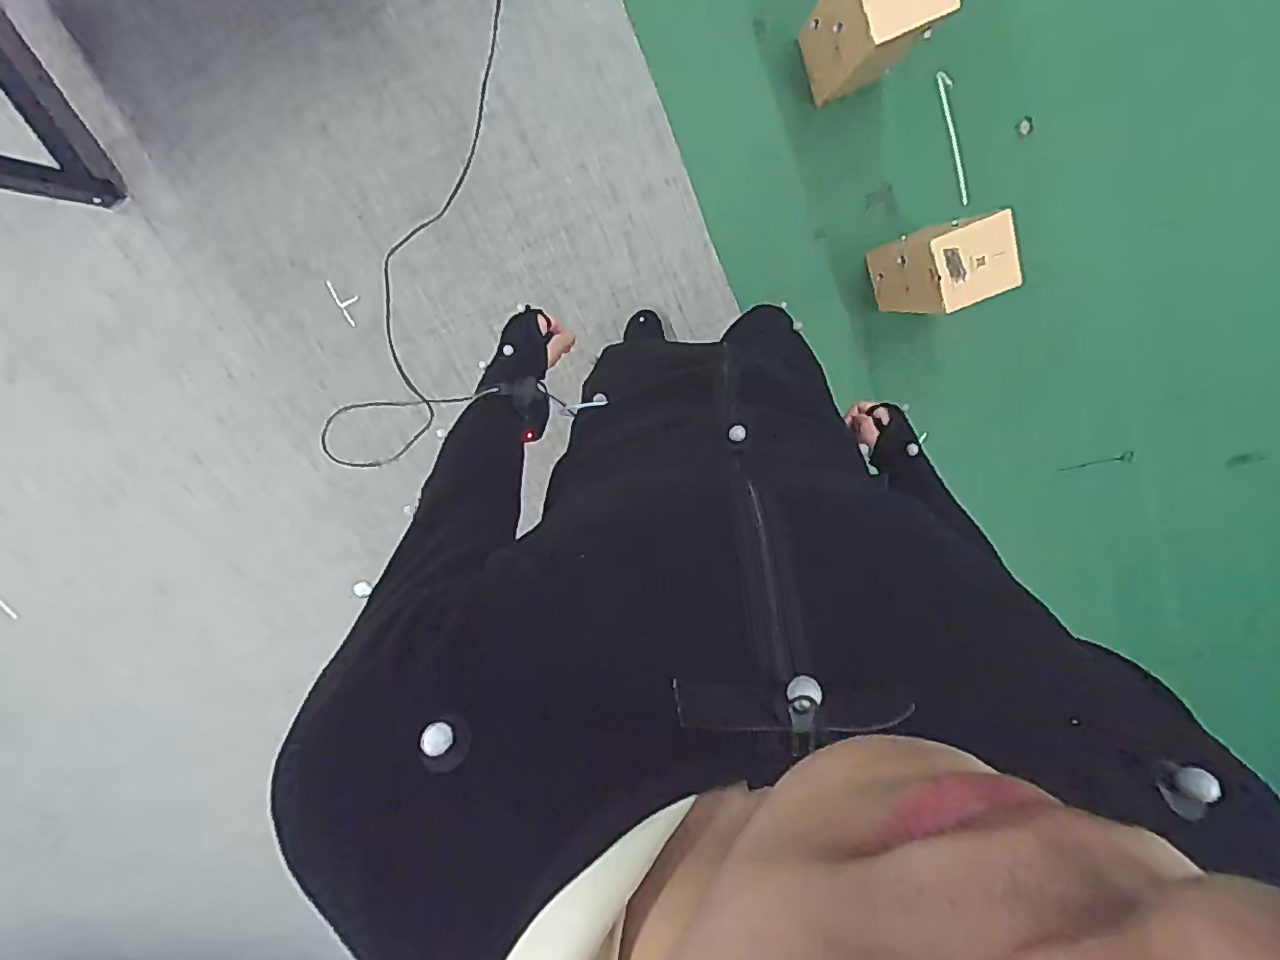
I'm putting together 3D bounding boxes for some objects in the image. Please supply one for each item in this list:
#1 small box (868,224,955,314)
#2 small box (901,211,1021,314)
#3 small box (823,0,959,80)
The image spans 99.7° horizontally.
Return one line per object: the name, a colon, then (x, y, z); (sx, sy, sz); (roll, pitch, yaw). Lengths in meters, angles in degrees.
small box: (0.723, -0.544, 1.399); (0.179, 0.176, 0.168); (-22, 108, 7)
small box: (0.726, -0.492, 1.244); (0.179, 0.176, 0.168); (-21, 108, 5)
small box: (0.496, -0.956, 1.087); (0.179, 0.176, 0.168); (-21, 106, 5)
